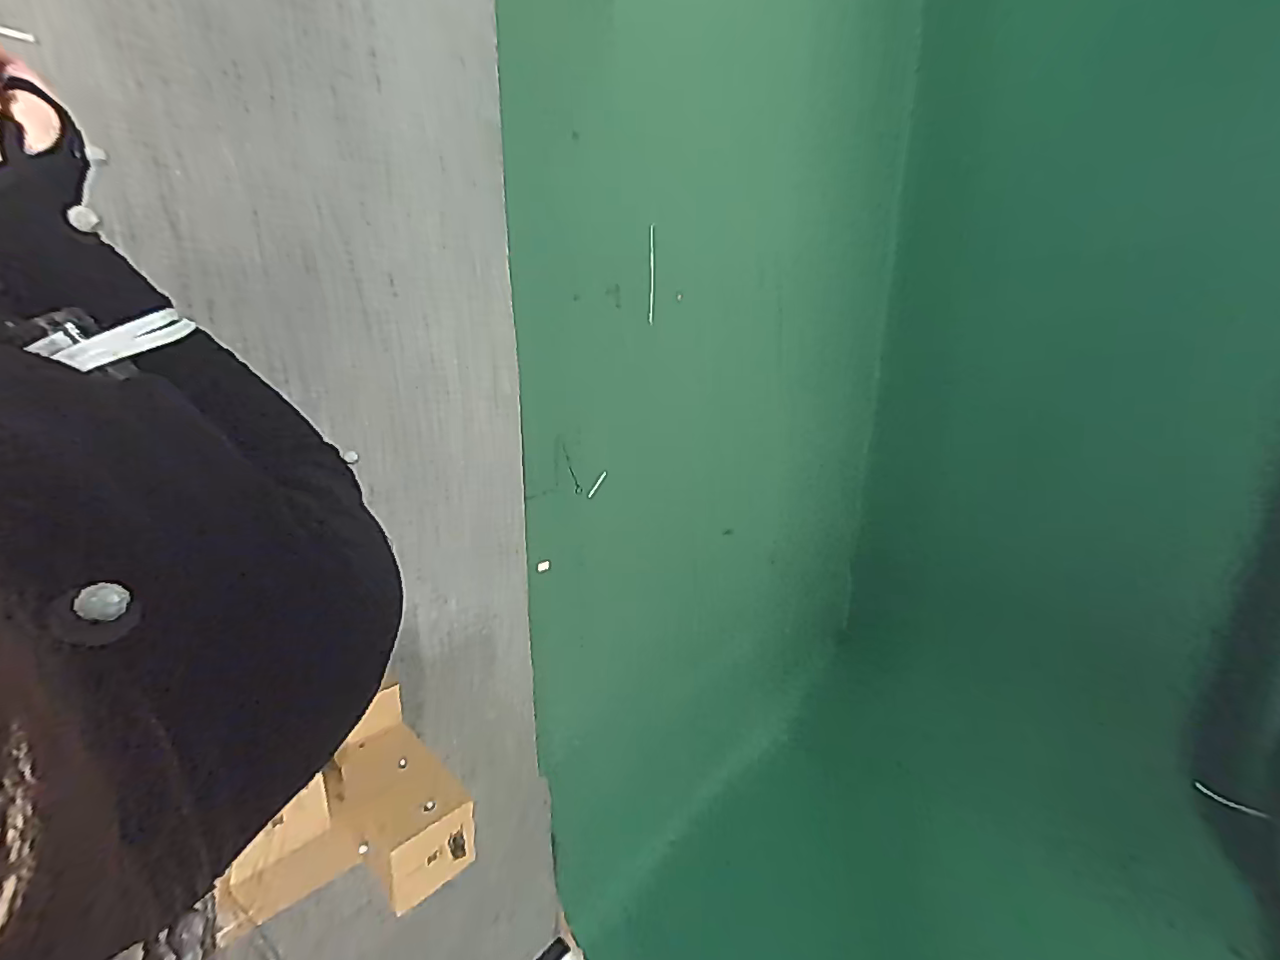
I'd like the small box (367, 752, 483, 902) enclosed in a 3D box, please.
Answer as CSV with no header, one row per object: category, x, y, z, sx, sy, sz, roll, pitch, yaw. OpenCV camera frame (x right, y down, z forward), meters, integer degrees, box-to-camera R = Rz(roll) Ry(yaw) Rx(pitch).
small box,-0.459,0.729,1.161,0.179,0.176,0.168,-14,112,-45

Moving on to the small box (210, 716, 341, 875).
small box,-0.727,0.614,1.075,0.179,0.176,0.168,-16,114,-45

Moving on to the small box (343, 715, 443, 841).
small box,-0.578,0.697,1.271,0.168,0.176,0.179,-14,113,-46
